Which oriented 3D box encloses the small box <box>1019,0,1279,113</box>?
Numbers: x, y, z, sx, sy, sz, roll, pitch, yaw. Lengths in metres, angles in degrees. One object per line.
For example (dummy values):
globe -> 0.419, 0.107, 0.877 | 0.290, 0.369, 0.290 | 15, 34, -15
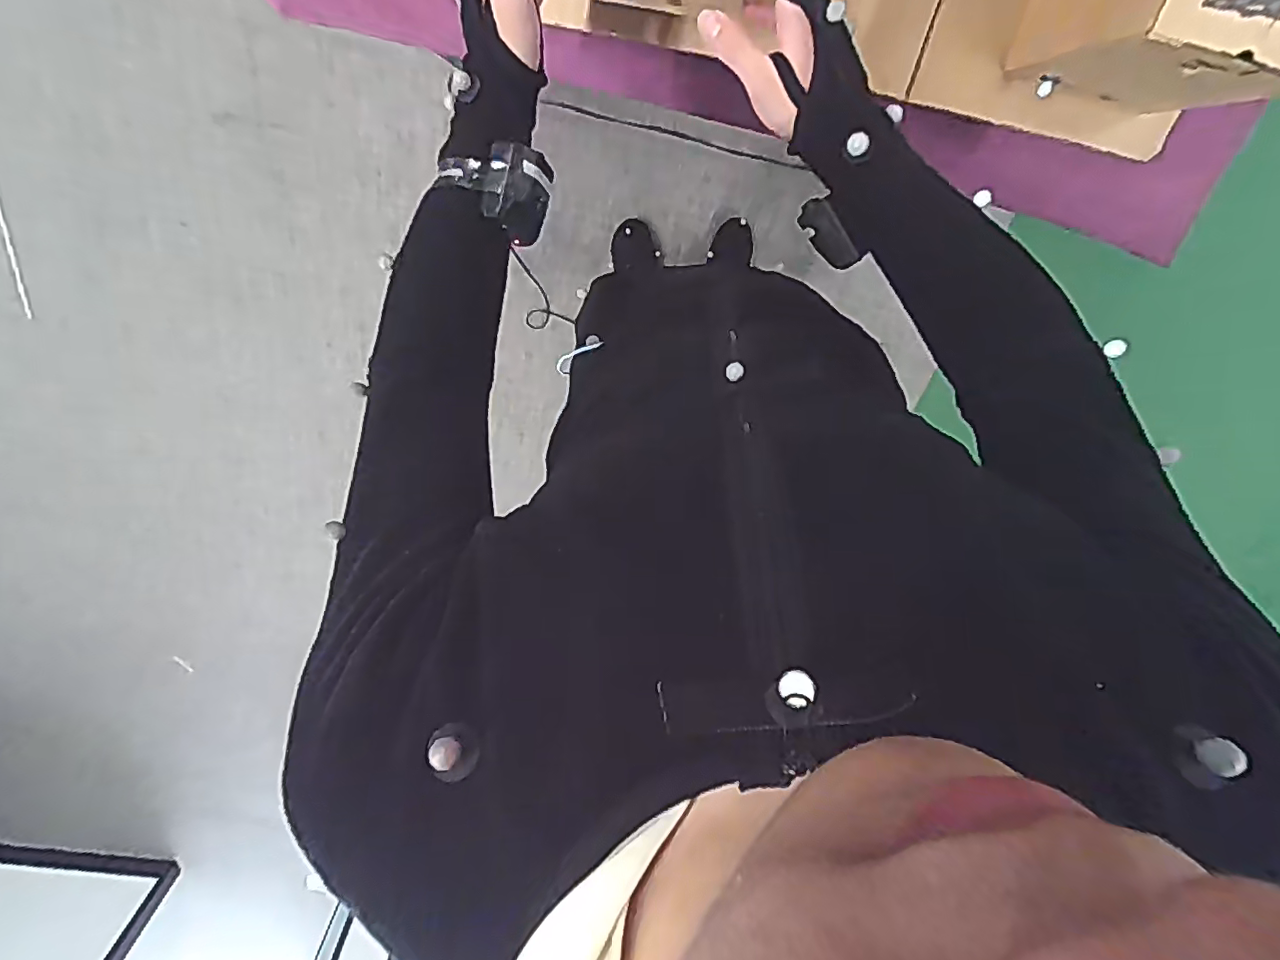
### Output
small box -> 0.454, -0.416, 0.430 | 0.168, 0.176, 0.179 | 8, 117, -8
